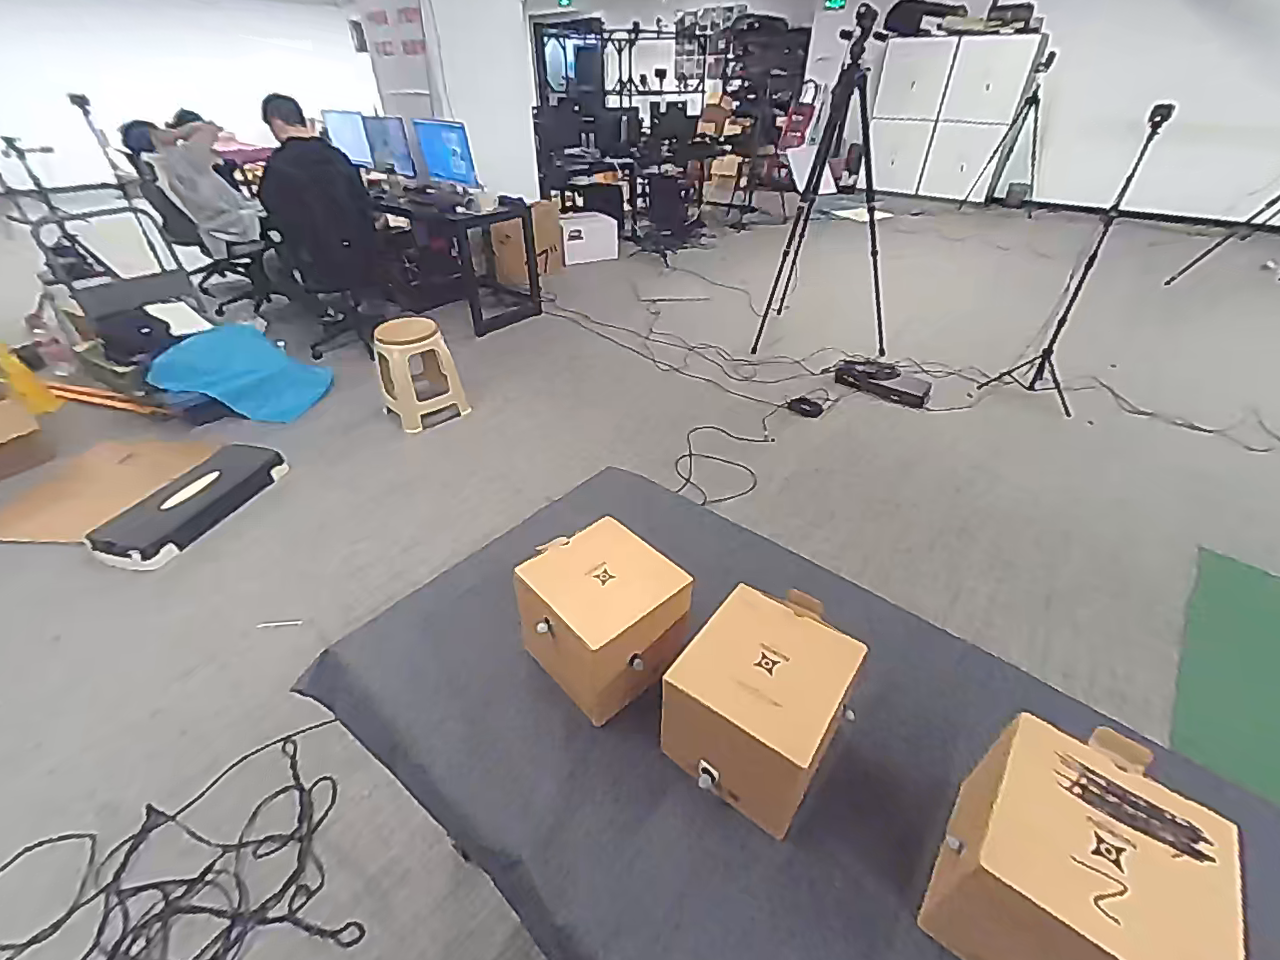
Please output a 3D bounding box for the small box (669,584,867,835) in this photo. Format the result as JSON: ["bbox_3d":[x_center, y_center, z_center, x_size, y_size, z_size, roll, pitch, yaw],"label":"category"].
[{"bbox_3d":[0.143,0.265,0.642,0.168,0.176,0.179,23,42,29],"label":"small box"}]

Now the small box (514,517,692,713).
[{"bbox_3d":[-0.048,0.187,0.745,0.168,0.176,0.179,-28,45,-34],"label":"small box"}]
